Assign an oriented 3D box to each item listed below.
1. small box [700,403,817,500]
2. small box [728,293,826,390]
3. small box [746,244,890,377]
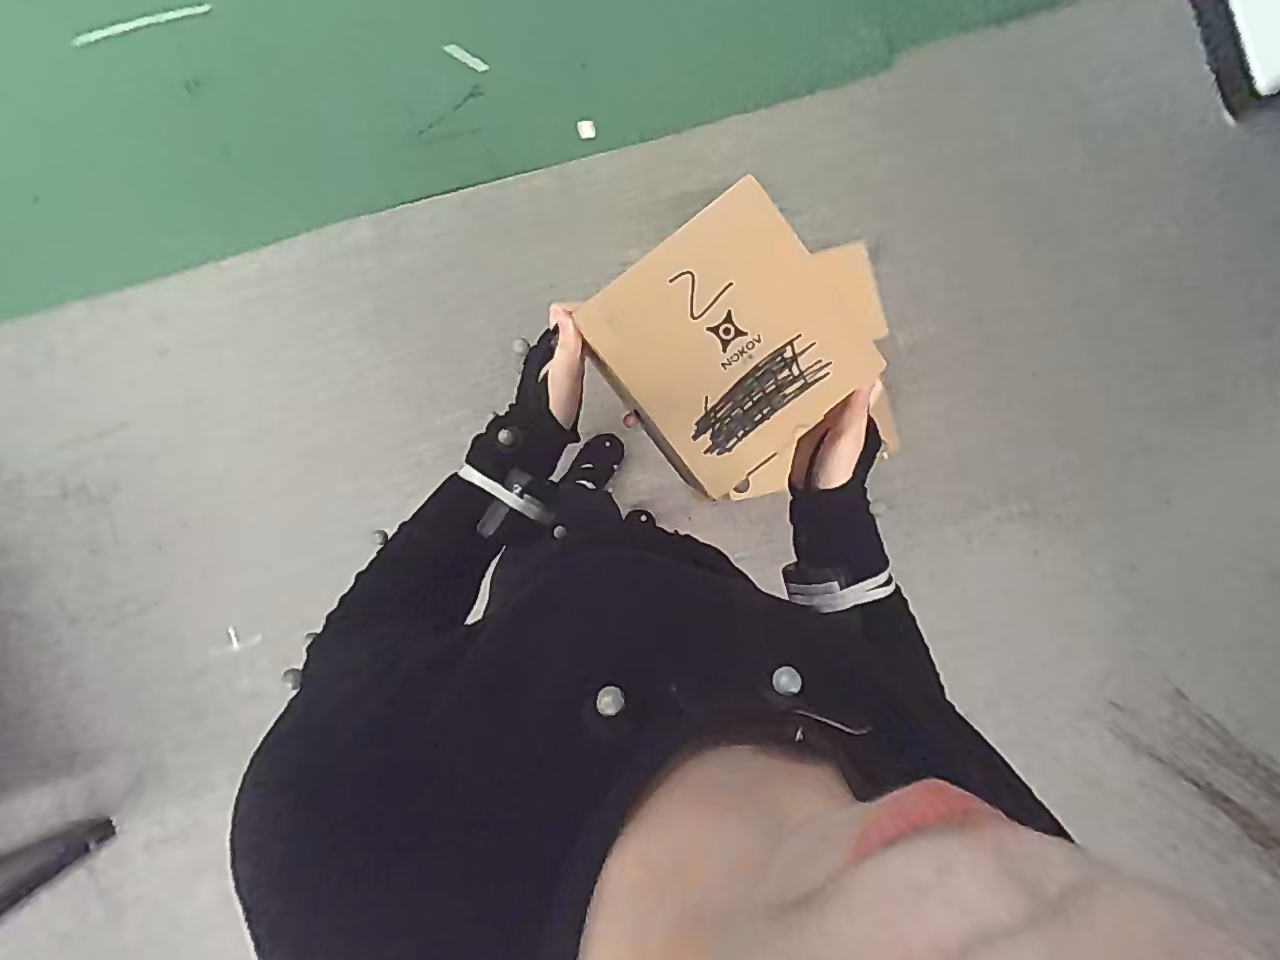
[{"bbox_3d":[0.238,-0.058,1.122,0.179,0.176,0.168,-12,91,-5],"label":"small box"},{"bbox_3d":[0.293,-0.296,1.131,0.179,0.176,0.168,-14,90,-5],"label":"small box"},{"bbox_3d":[0.309,-0.294,0.968,0.179,0.176,0.168,-14,90,-3],"label":"small box"}]
